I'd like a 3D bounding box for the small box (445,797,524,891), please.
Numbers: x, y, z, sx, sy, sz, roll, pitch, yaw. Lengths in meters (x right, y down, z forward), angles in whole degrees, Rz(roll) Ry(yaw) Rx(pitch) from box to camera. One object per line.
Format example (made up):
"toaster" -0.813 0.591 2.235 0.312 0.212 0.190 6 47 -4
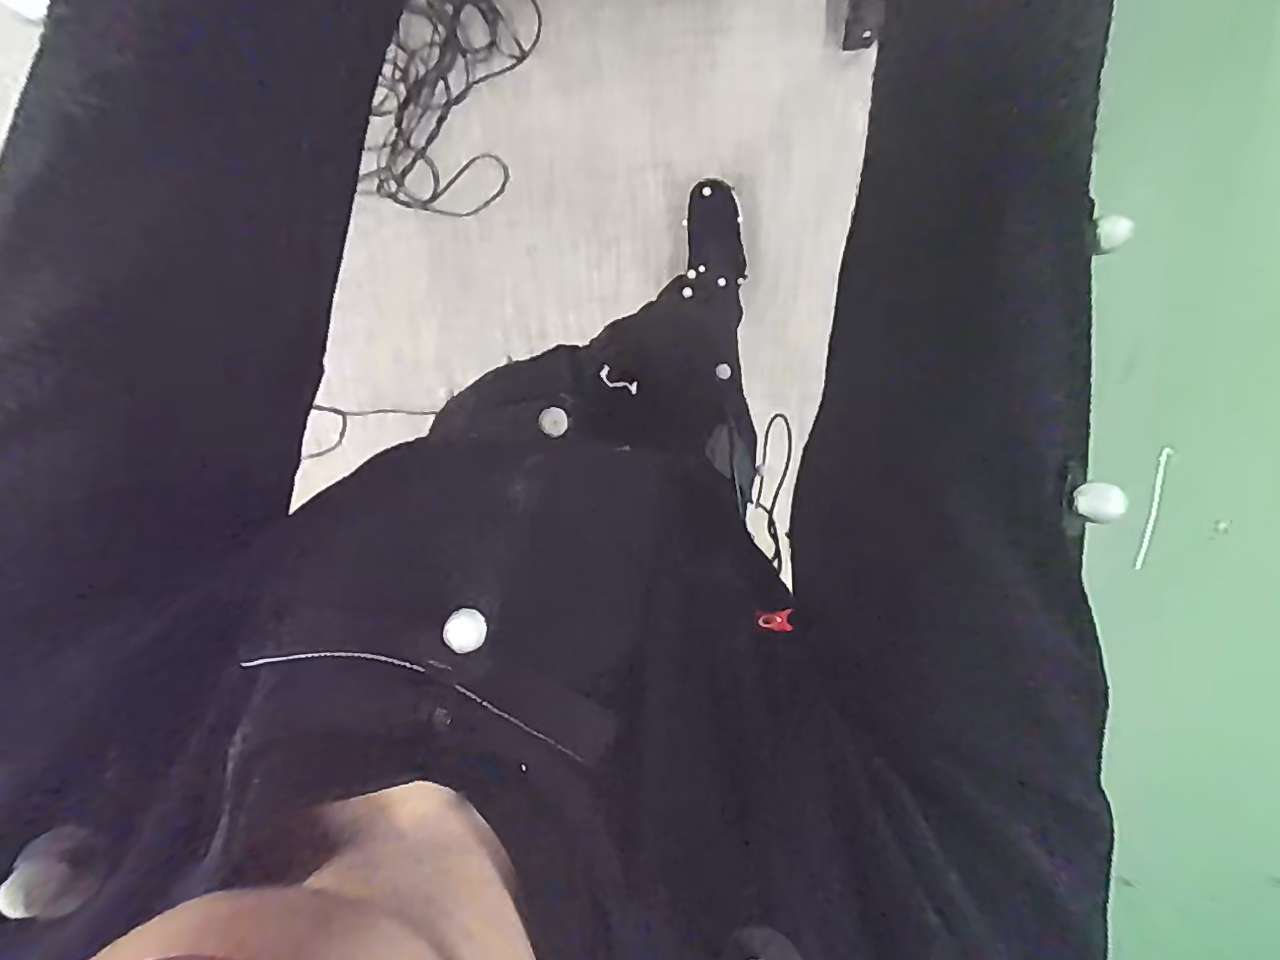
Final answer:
"small box" -0.444 1.057 1.581 0.179 0.176 0.168 -4 107 4
